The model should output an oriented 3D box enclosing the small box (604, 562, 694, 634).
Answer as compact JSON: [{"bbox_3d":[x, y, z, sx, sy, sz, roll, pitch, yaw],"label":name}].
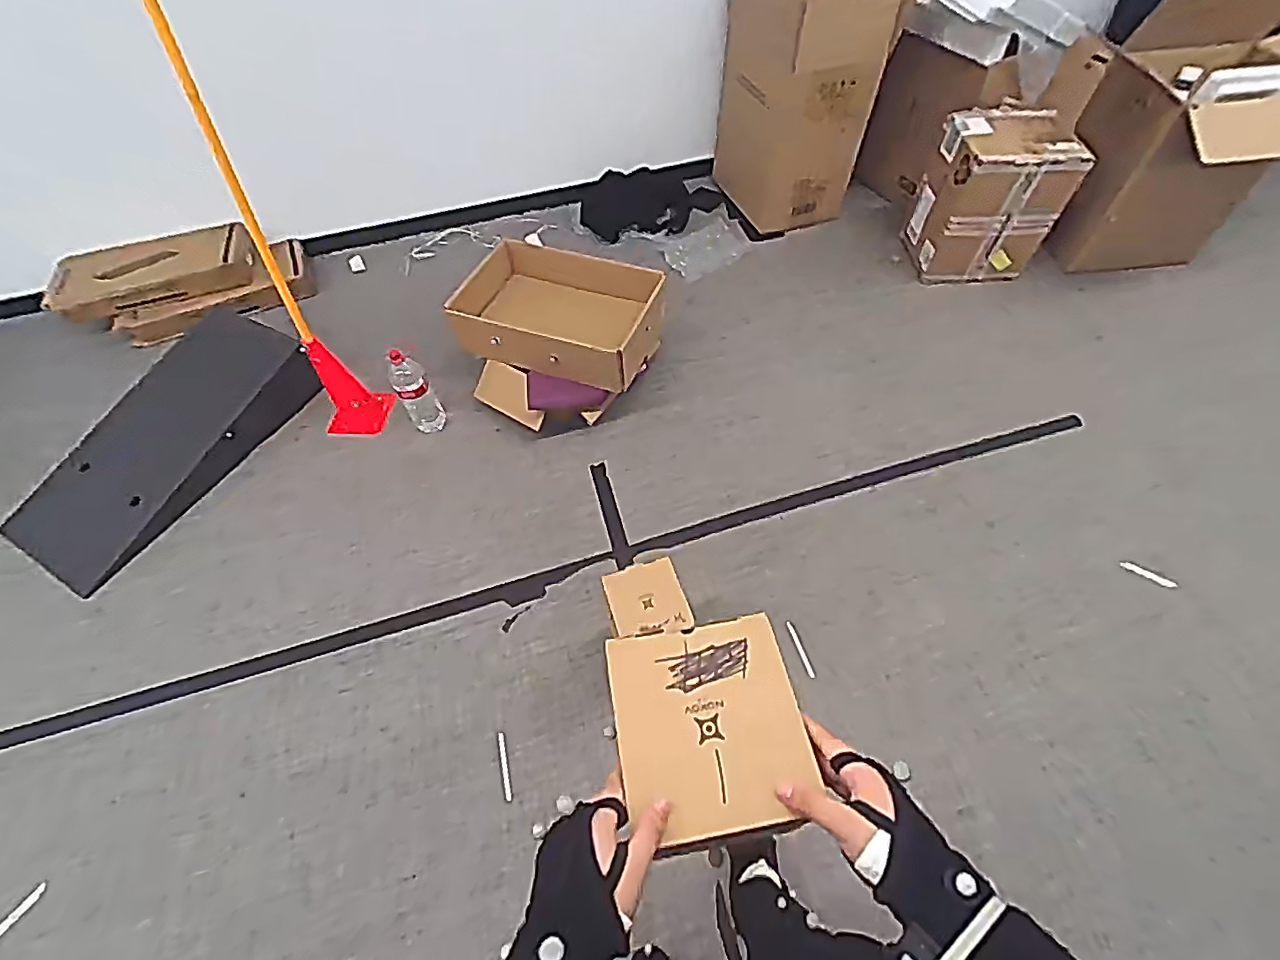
[{"bbox_3d":[0.022,0.322,1.252,0.168,0.176,0.179,-17,55,-8],"label":"small box"}]

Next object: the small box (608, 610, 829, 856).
[{"bbox_3d":[0.062,0.258,0.547,0.168,0.176,0.179,-9,53,-5],"label":"small box"}]
